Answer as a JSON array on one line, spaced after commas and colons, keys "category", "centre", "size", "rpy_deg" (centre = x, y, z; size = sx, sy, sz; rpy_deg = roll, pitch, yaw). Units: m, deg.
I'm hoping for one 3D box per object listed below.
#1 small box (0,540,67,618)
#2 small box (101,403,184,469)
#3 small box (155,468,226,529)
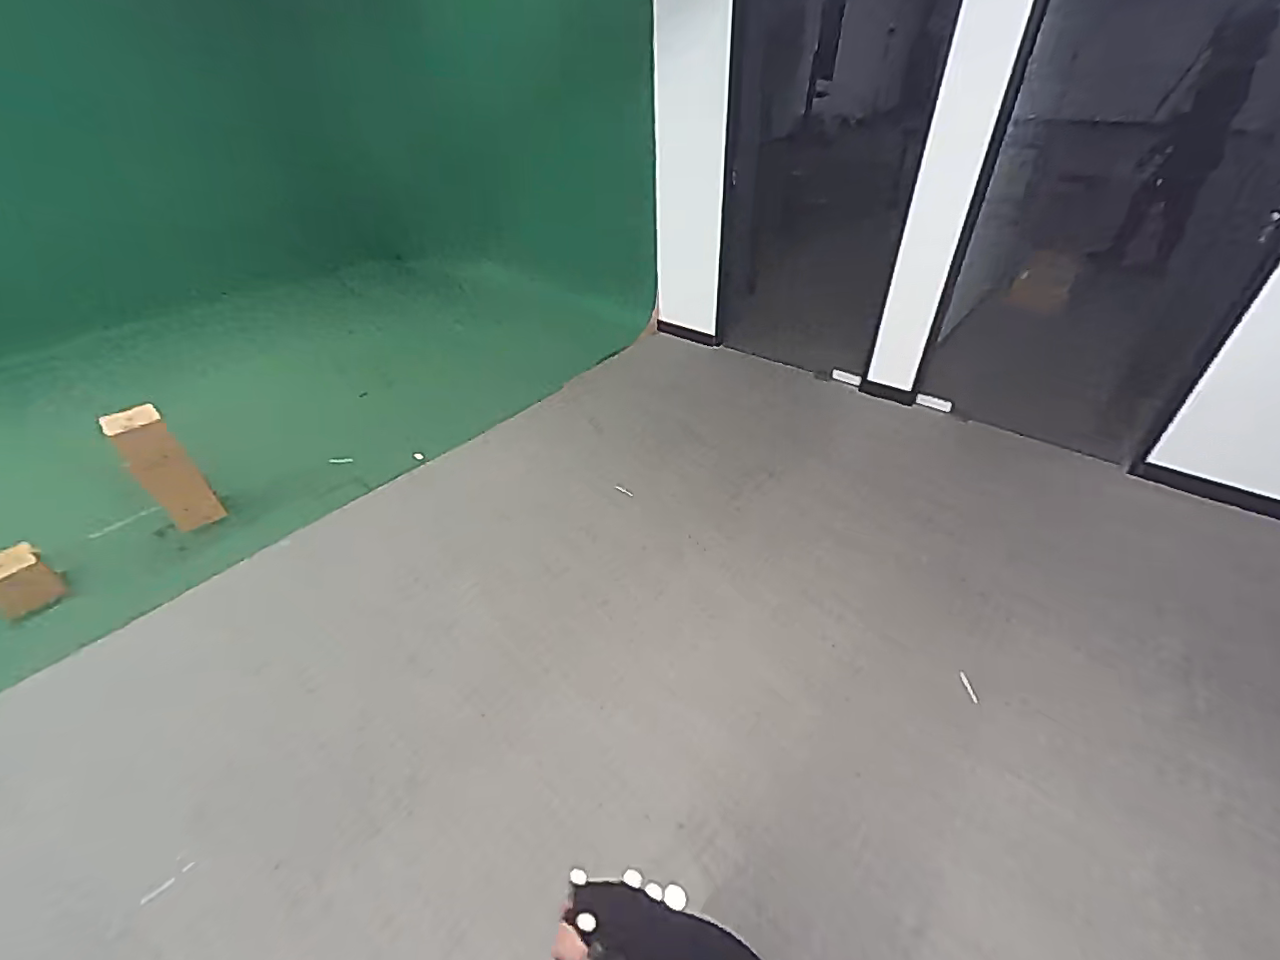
[{"category": "small box", "centre": [-2.225, 0.356, 1.929], "size": [0.168, 0.176, 0.179], "rpy_deg": [27, 47, 30]}, {"category": "small box", "centre": [-1.880, -0.166, 2.047], "size": [0.179, 0.176, 0.168], "rpy_deg": [30, 47, 34]}, {"category": "small box", "centre": [-1.877, 0.083, 2.261], "size": [0.168, 0.176, 0.179], "rpy_deg": [-30, 46, -31]}]
